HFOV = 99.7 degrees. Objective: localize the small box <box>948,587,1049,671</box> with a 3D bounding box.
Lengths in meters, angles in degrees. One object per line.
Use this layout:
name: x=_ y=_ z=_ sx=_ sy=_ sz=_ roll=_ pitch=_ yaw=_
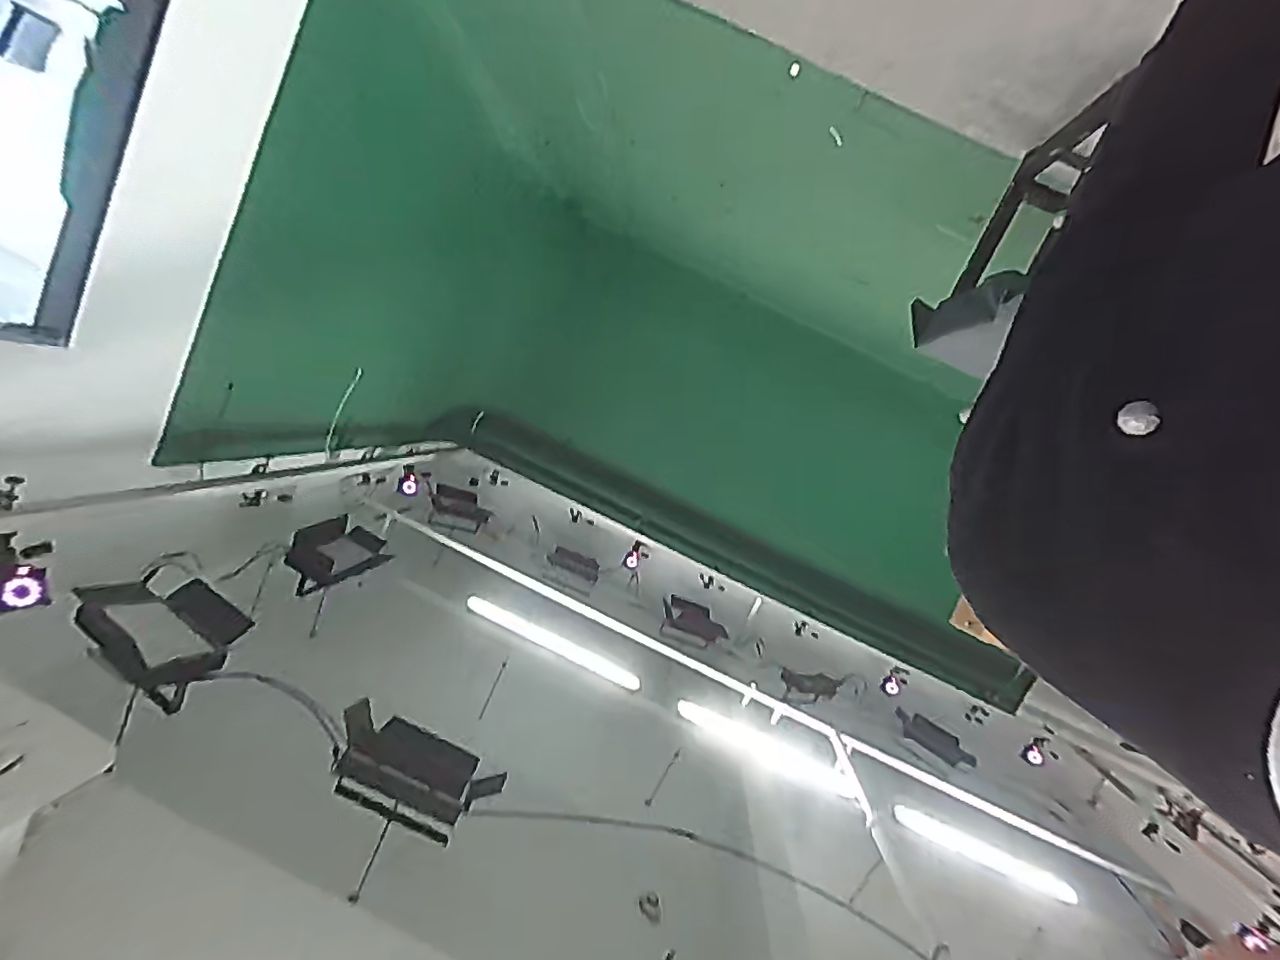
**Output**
small box: x=1.131 y=0.463 z=1.704 sx=0.179 sy=0.176 sz=0.168 roll=26 pitch=-179 yaw=-1
